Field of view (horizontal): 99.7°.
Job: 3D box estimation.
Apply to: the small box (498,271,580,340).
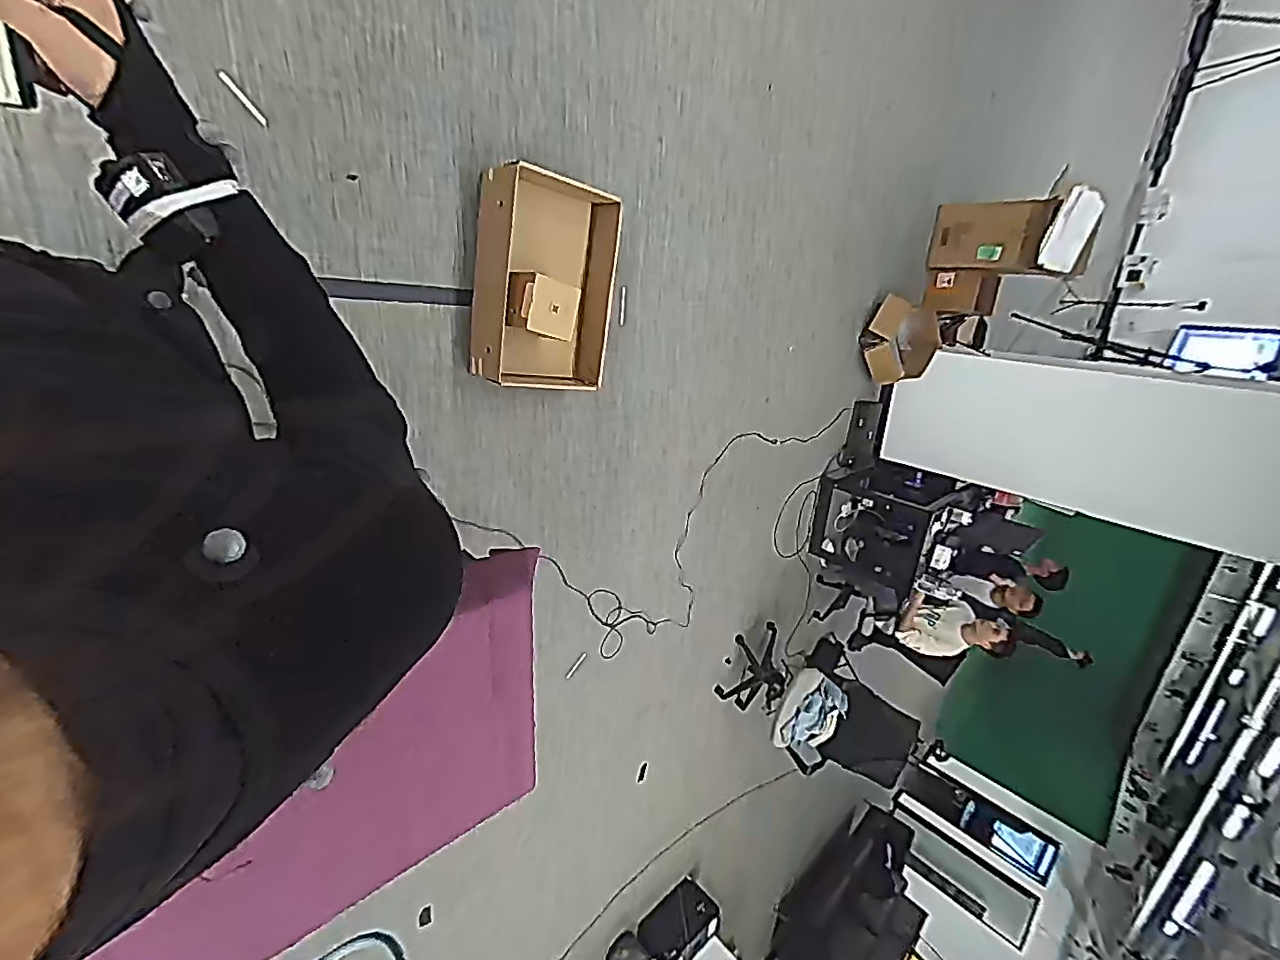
[{"bbox_3d":[-0.320,-0.544,1.691,0.179,0.176,0.168,4,103,-46],"label":"small box"}]
